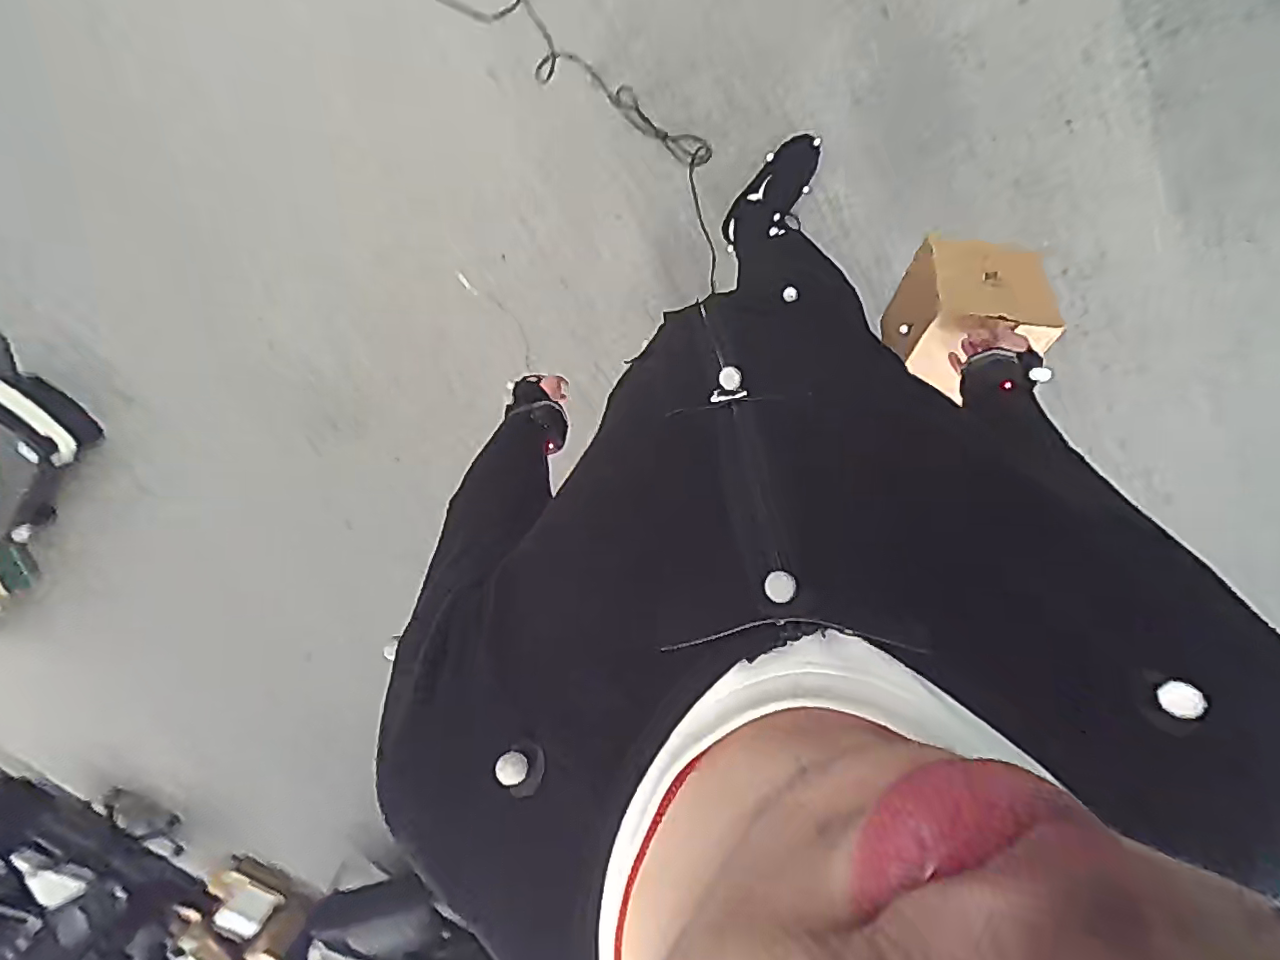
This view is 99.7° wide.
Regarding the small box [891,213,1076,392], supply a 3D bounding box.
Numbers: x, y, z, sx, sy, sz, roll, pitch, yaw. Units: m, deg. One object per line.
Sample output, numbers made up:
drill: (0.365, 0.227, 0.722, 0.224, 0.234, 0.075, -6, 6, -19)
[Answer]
small box: (0.491, -0.256, 0.803, 0.168, 0.179, 0.176, 12, 151, 2)
